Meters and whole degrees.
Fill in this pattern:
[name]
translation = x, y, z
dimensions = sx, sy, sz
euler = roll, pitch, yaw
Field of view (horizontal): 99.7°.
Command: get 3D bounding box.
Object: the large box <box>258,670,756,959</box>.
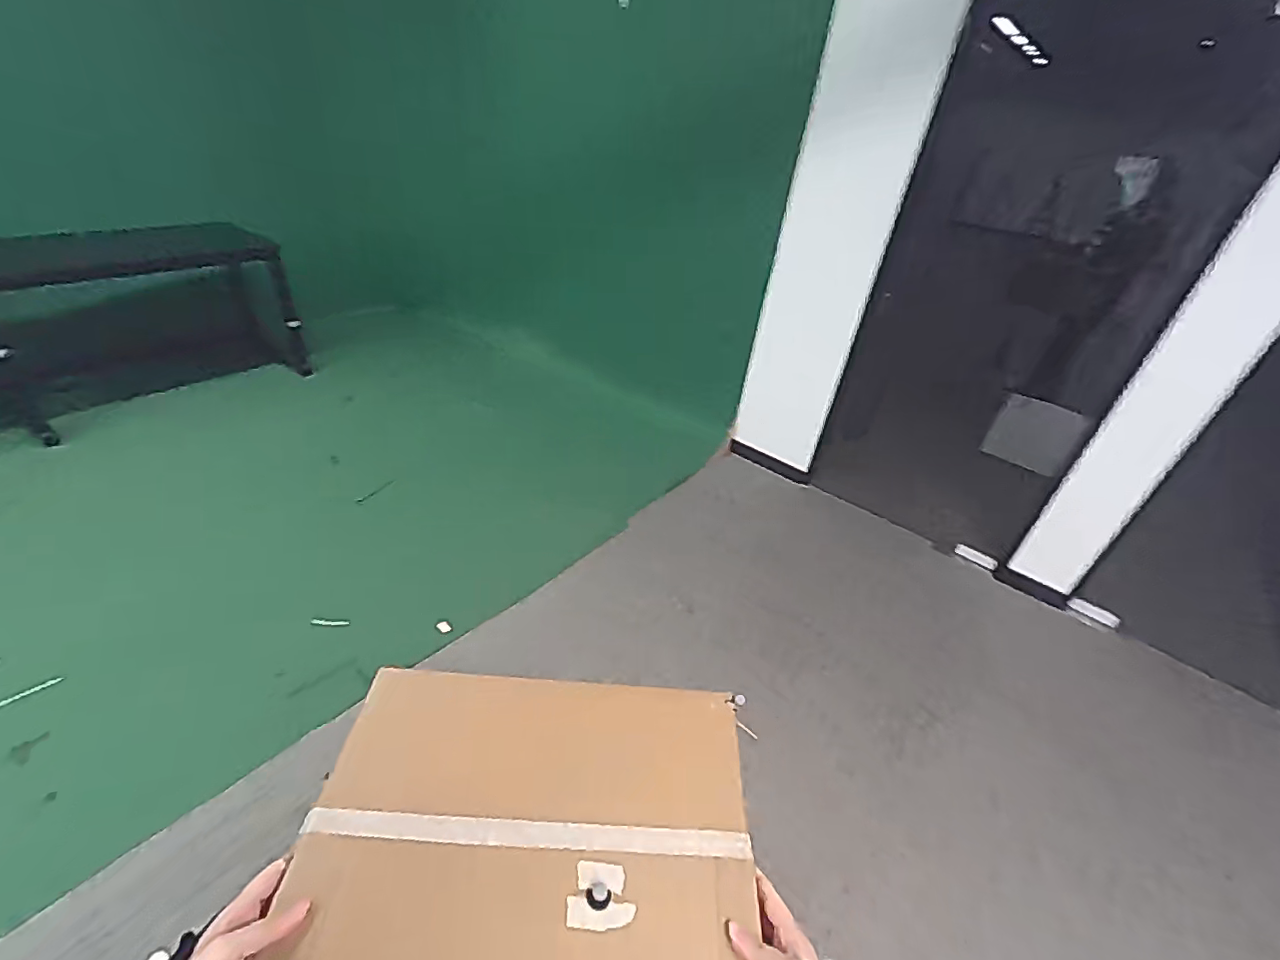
[large box]
translation = -0.116, 0.442, 0.601
dimensions = 0.408, 0.320, 0.320
euler = 5, 39, -3
